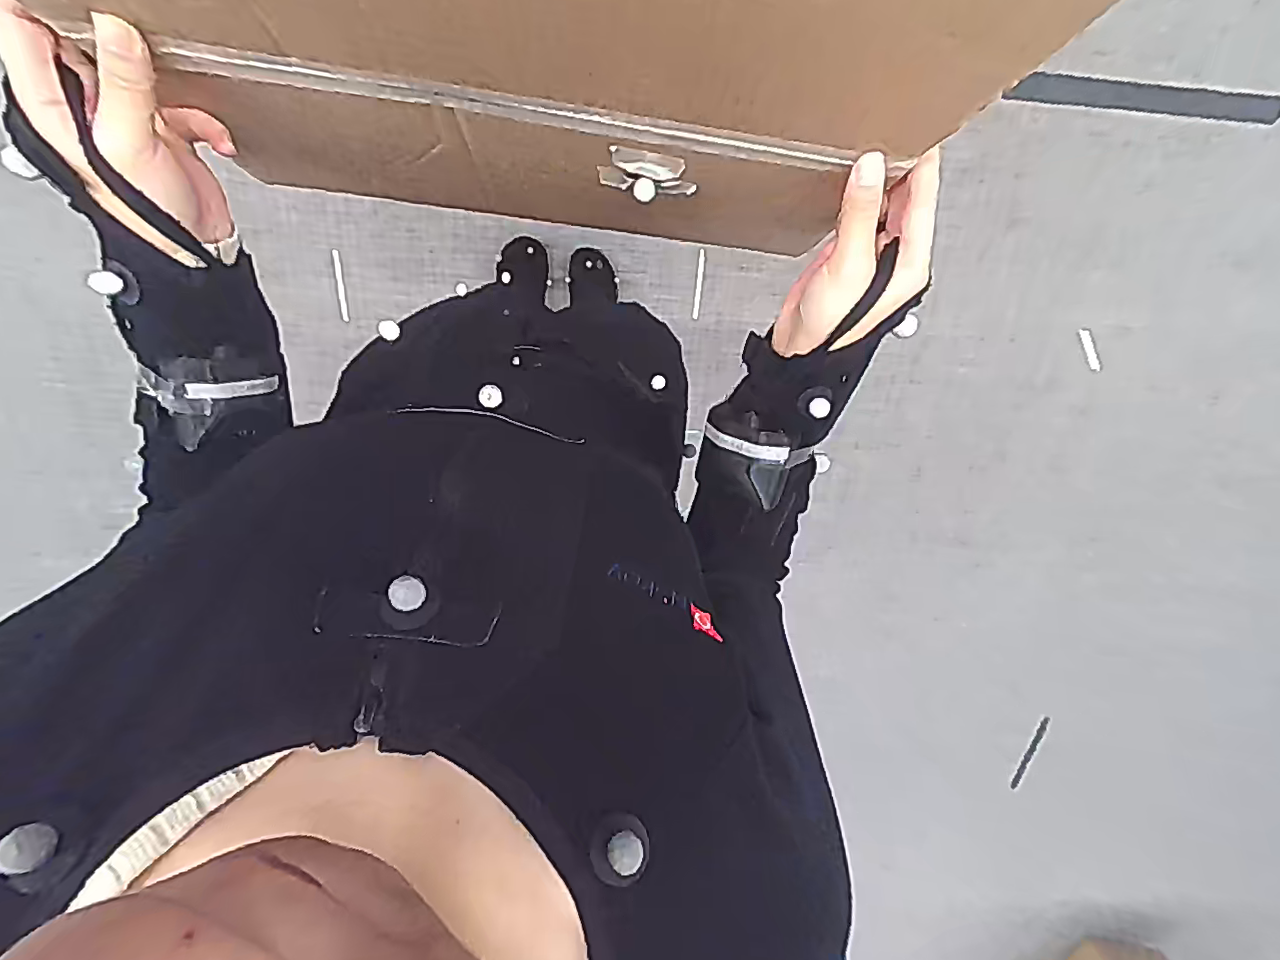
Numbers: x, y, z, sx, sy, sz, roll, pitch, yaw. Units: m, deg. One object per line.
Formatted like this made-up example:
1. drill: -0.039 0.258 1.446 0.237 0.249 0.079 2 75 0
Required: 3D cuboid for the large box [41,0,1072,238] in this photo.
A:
1. large box: -0.046 -0.340 0.250 0.408 0.320 0.320 4 97 -6
